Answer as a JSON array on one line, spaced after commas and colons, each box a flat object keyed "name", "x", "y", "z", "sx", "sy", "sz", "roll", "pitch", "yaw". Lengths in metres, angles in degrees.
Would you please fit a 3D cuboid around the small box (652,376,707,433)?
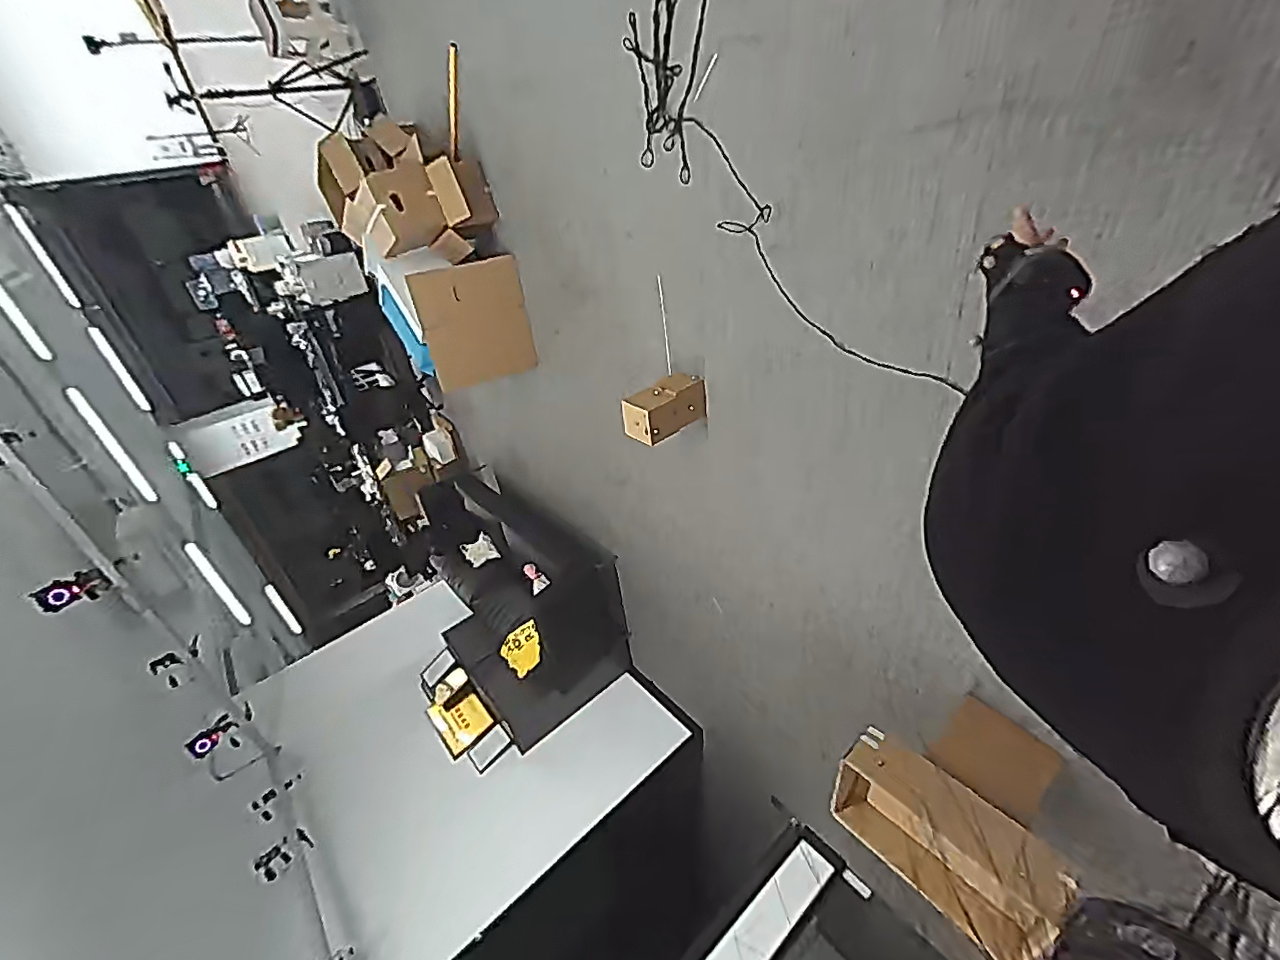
[{"name": "small box", "x": 0.177, "y": -0.335, "z": 2.364, "sx": 0.168, "sy": 0.176, "sz": 0.179, "roll": 29, "pitch": 139, "yaw": 44}]

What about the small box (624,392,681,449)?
[{"name": "small box", "x": 0.055, "y": -0.259, "z": 2.288, "sx": 0.179, "sy": 0.176, "sz": 0.168, "roll": 31, "pitch": 139, "yaw": 43}]
